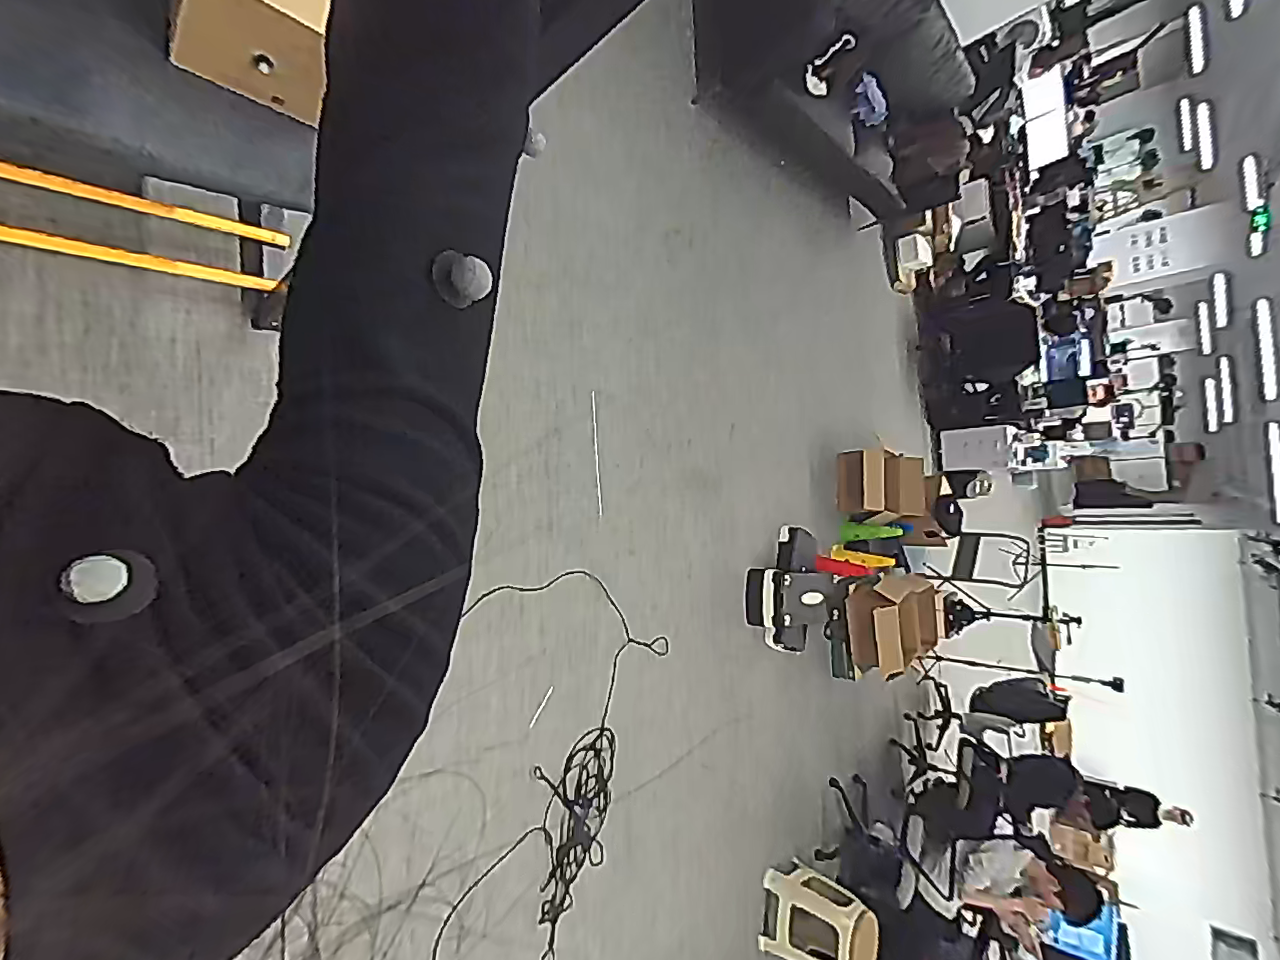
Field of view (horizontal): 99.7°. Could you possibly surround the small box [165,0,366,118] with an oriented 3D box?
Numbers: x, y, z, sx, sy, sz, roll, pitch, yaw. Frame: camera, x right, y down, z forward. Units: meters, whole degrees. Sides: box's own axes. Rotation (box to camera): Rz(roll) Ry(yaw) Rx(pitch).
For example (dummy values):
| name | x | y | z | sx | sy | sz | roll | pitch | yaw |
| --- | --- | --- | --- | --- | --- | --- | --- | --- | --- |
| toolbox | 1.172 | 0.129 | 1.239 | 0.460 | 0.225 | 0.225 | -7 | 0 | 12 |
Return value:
| name | x | y | z | sx | sy | sz | roll | pitch | yaw |
| --- | --- | --- | --- | --- | --- | --- | --- | --- | --- |
| small box | -0.437 | -0.580 | 0.635 | 0.168 | 0.176 | 0.179 | 3 | 84 | -47 |
